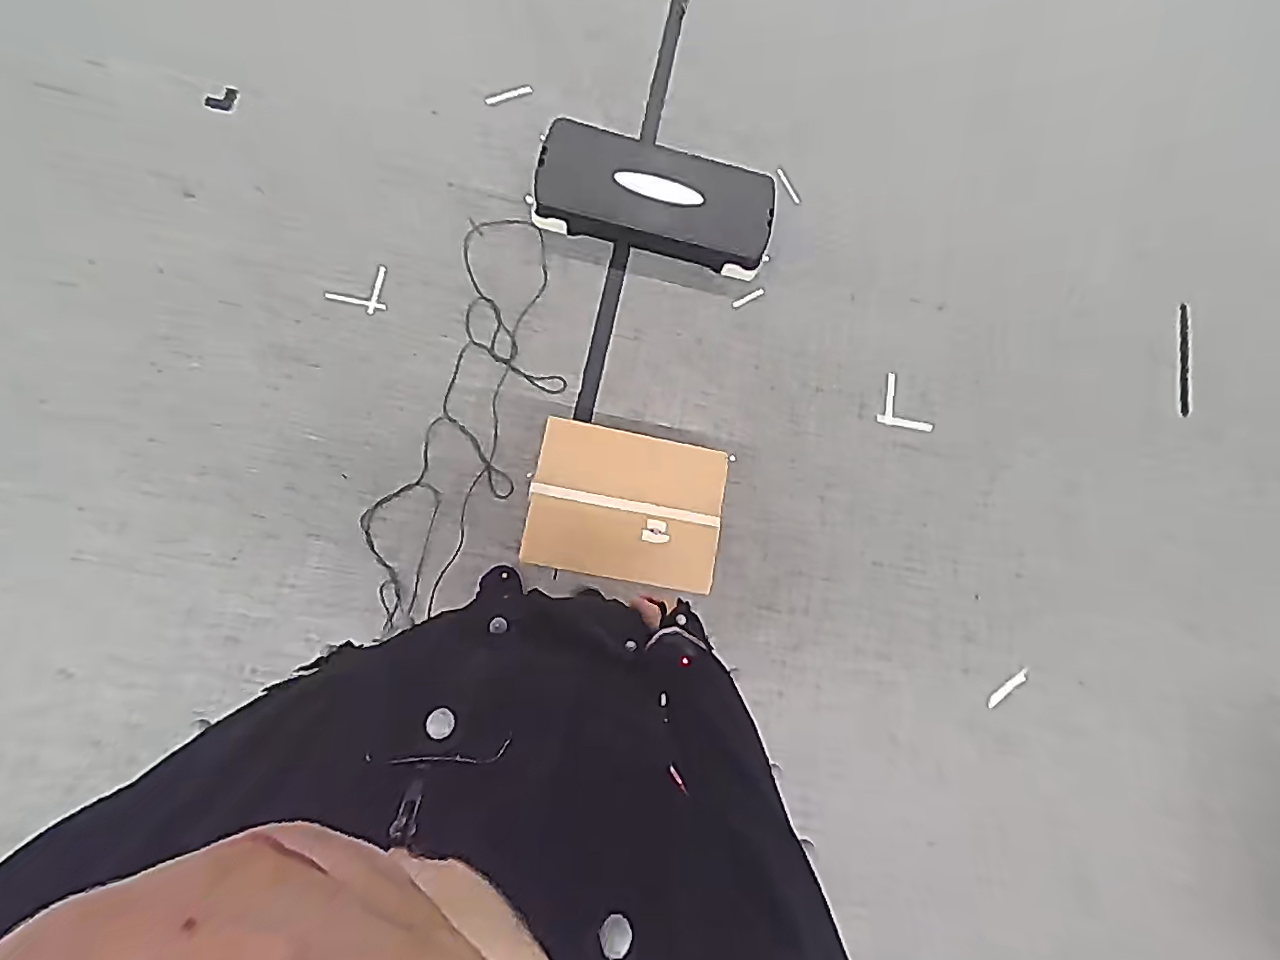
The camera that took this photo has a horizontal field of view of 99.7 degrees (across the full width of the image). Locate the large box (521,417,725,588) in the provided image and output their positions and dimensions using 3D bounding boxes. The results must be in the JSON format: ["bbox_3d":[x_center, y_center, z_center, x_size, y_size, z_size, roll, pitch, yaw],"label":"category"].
[{"bbox_3d":[-0.052,0.070,1.291,0.408,0.320,0.320,11,81,-7],"label":"large box"}]
